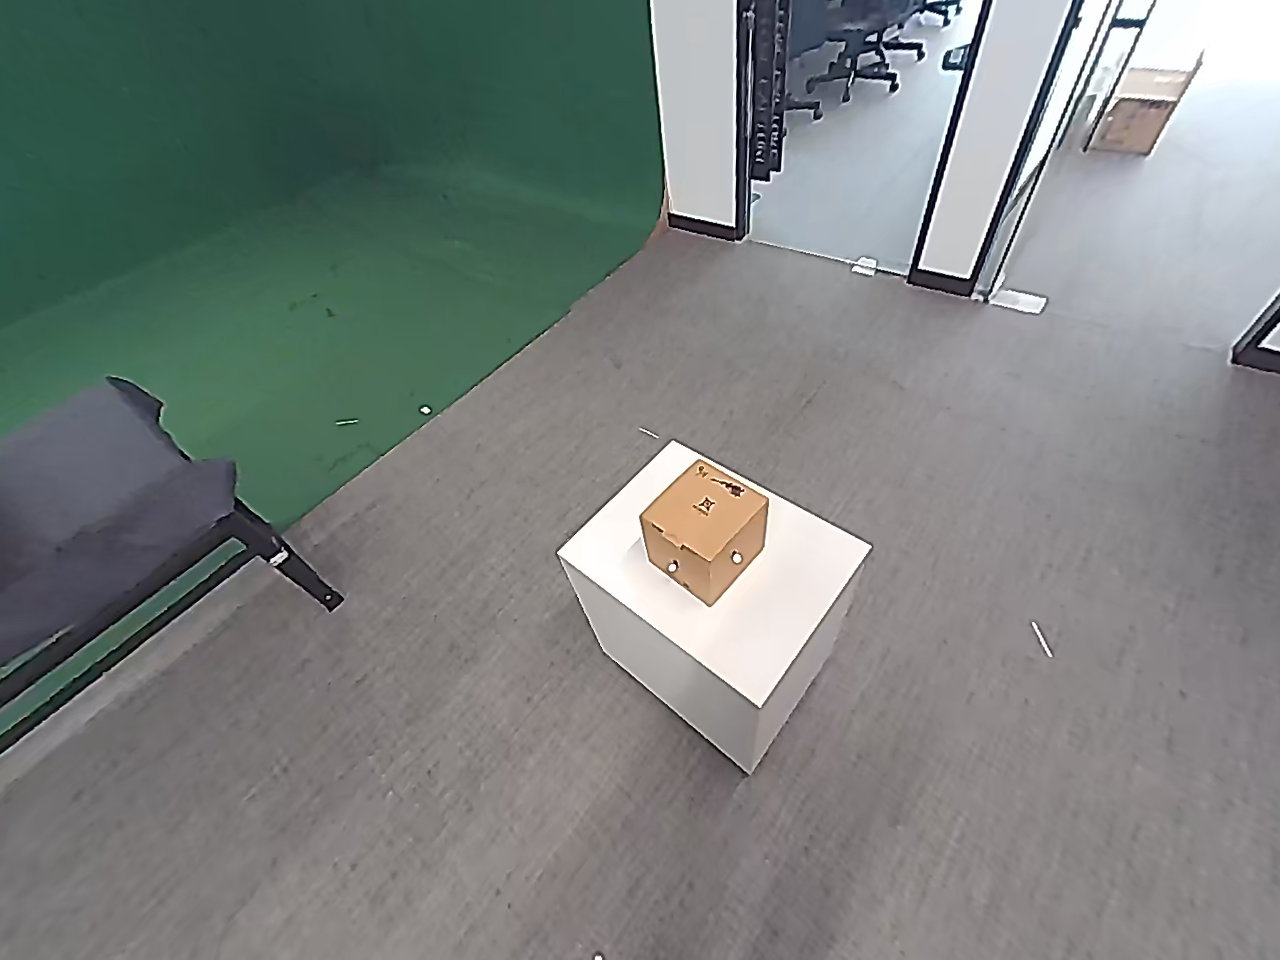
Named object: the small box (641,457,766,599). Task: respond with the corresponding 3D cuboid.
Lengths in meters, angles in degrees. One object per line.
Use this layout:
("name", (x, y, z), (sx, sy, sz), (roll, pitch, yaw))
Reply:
("small box", (0.127, 0.096, 1.044), (0.168, 0.176, 0.179), (31, 61, 29))
